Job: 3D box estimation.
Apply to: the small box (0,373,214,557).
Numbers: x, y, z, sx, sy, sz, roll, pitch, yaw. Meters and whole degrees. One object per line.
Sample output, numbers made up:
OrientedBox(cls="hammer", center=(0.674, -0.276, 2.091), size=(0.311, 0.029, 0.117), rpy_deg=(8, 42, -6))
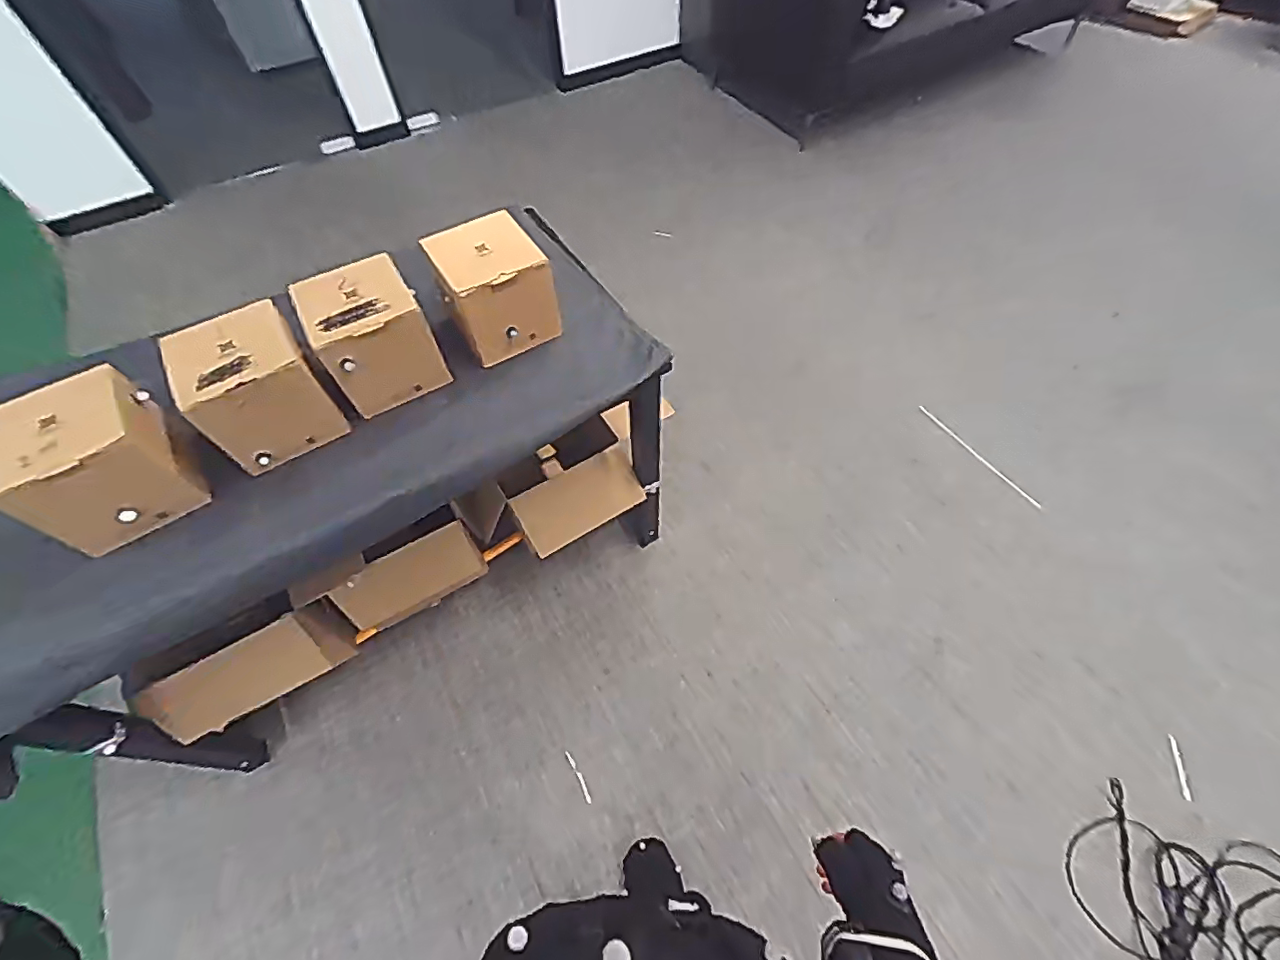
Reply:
OrientedBox(cls="small box", center=(-0.787, -0.018, 0.801), size=(0.168, 0.176, 0.179), rpy_deg=(-33, 63, -17))

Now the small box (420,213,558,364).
OrientedBox(cls="small box", center=(-0.269, -0.346, 0.989), size=(0.168, 0.176, 0.179), rpy_deg=(-30, 62, -16))
